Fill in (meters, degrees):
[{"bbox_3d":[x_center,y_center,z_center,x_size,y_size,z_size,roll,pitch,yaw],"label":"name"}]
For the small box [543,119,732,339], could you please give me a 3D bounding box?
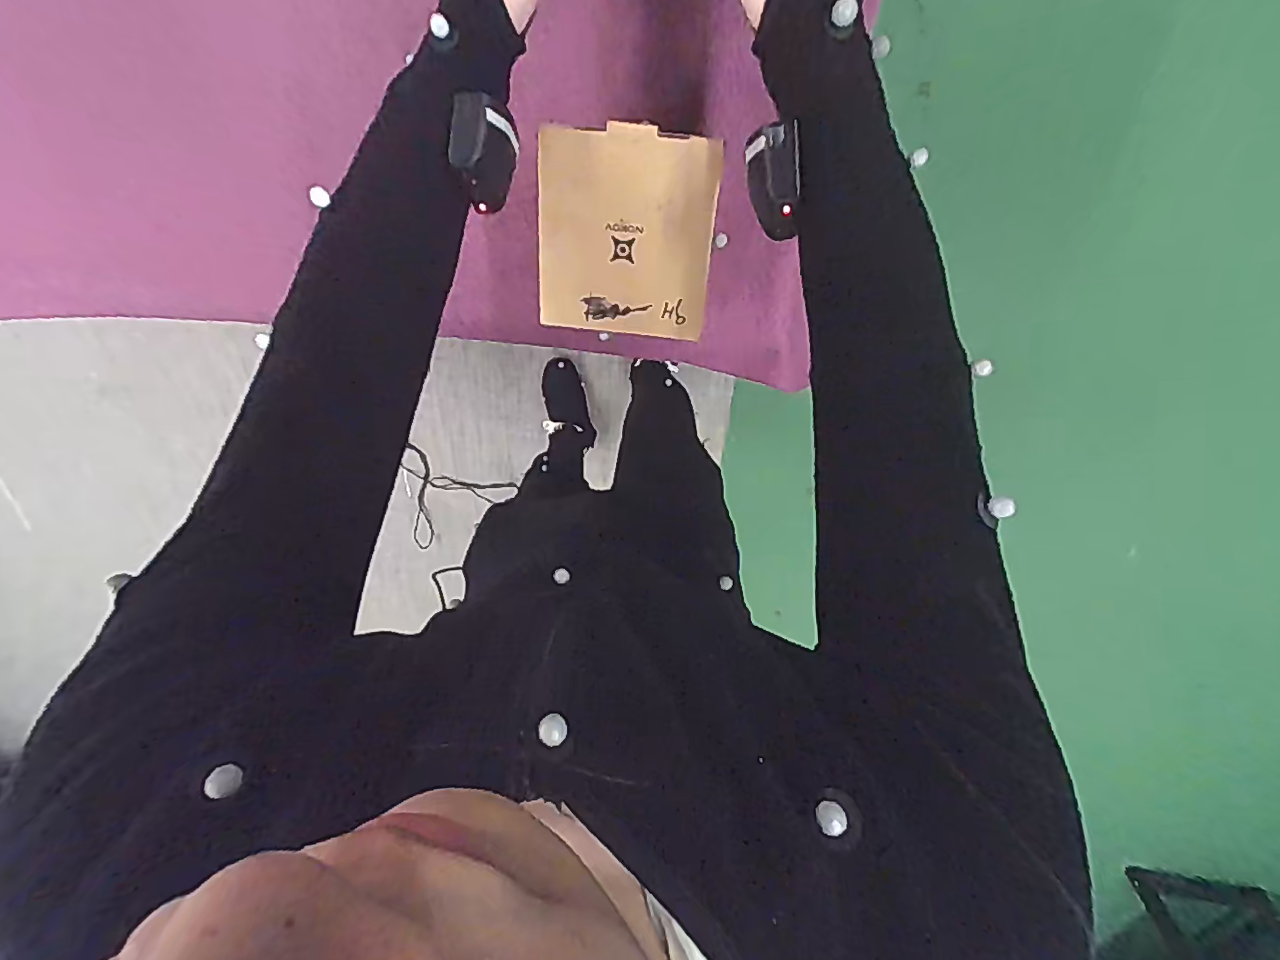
[{"bbox_3d":[-0.002,-0.262,0.576,0.168,0.176,0.179,7,117,3],"label":"small box"}]
